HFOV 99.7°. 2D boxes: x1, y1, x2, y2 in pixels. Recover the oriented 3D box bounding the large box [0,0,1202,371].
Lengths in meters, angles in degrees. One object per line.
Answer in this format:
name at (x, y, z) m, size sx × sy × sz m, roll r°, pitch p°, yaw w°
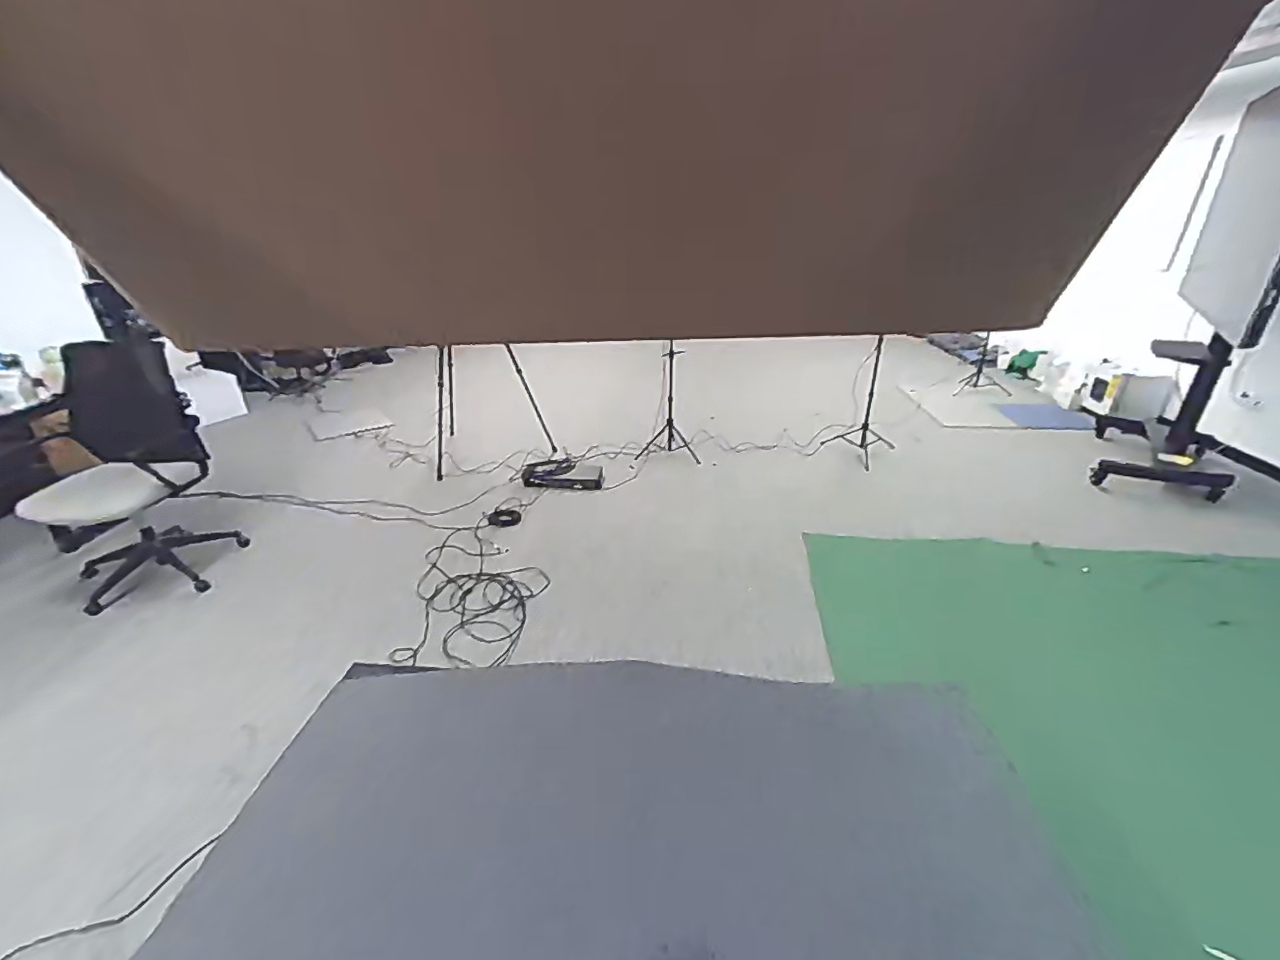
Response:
large box at (-0.035, -0.266, 0.228) m, size 0.408 × 0.320 × 0.320 m, roll -1°, pitch 57°, yaw 3°
